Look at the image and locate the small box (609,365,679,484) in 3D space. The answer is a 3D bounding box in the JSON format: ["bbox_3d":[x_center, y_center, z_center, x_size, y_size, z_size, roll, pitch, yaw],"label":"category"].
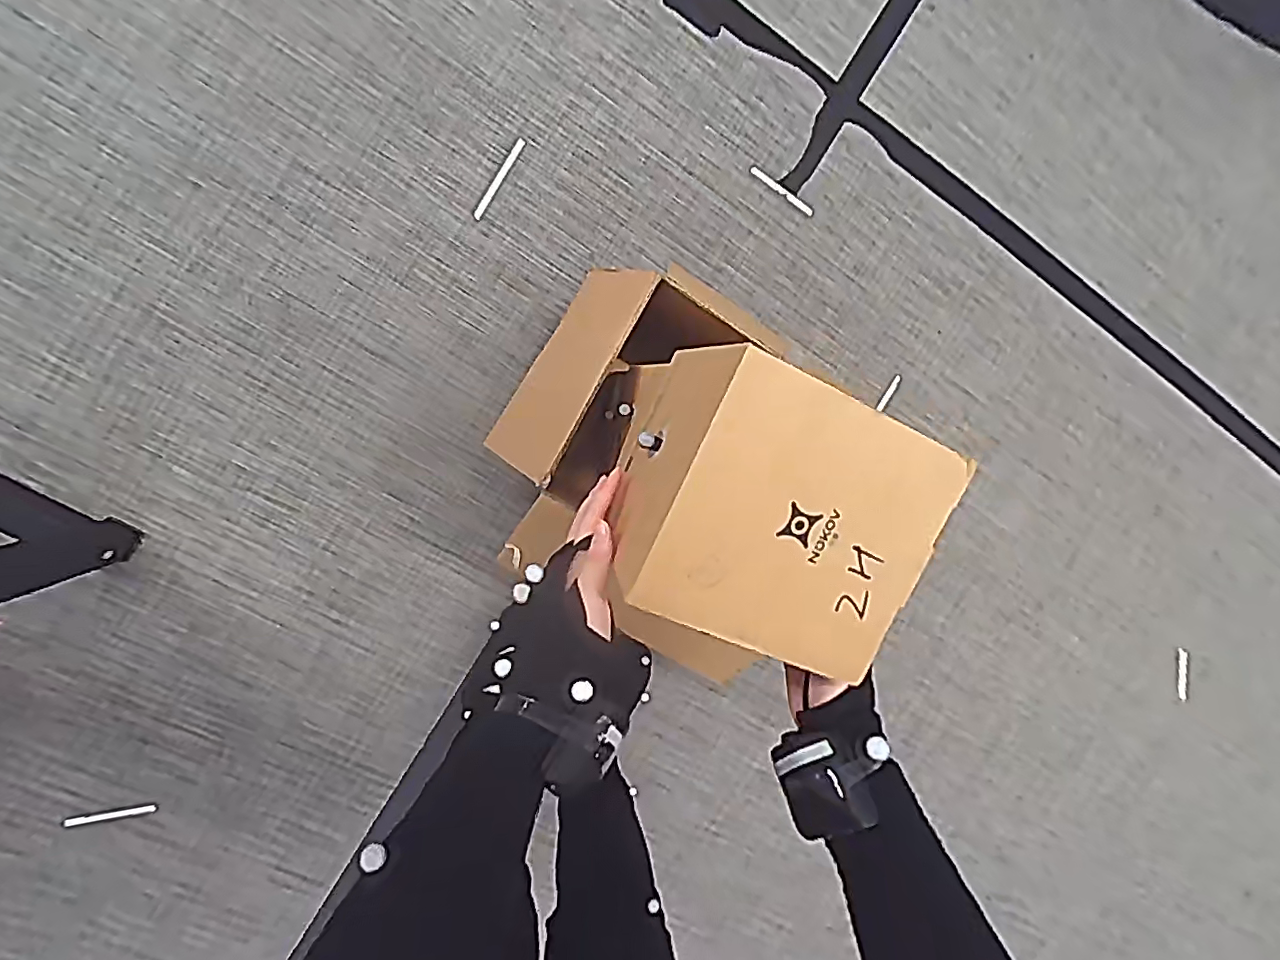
[{"bbox_3d":[0.062,-0.054,0.729,0.179,0.176,0.168,9,99,-13],"label":"small box"}]

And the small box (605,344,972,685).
[{"bbox_3d":[0.086,0.015,0.405,0.179,0.176,0.168,24,97,-14],"label":"small box"}]
